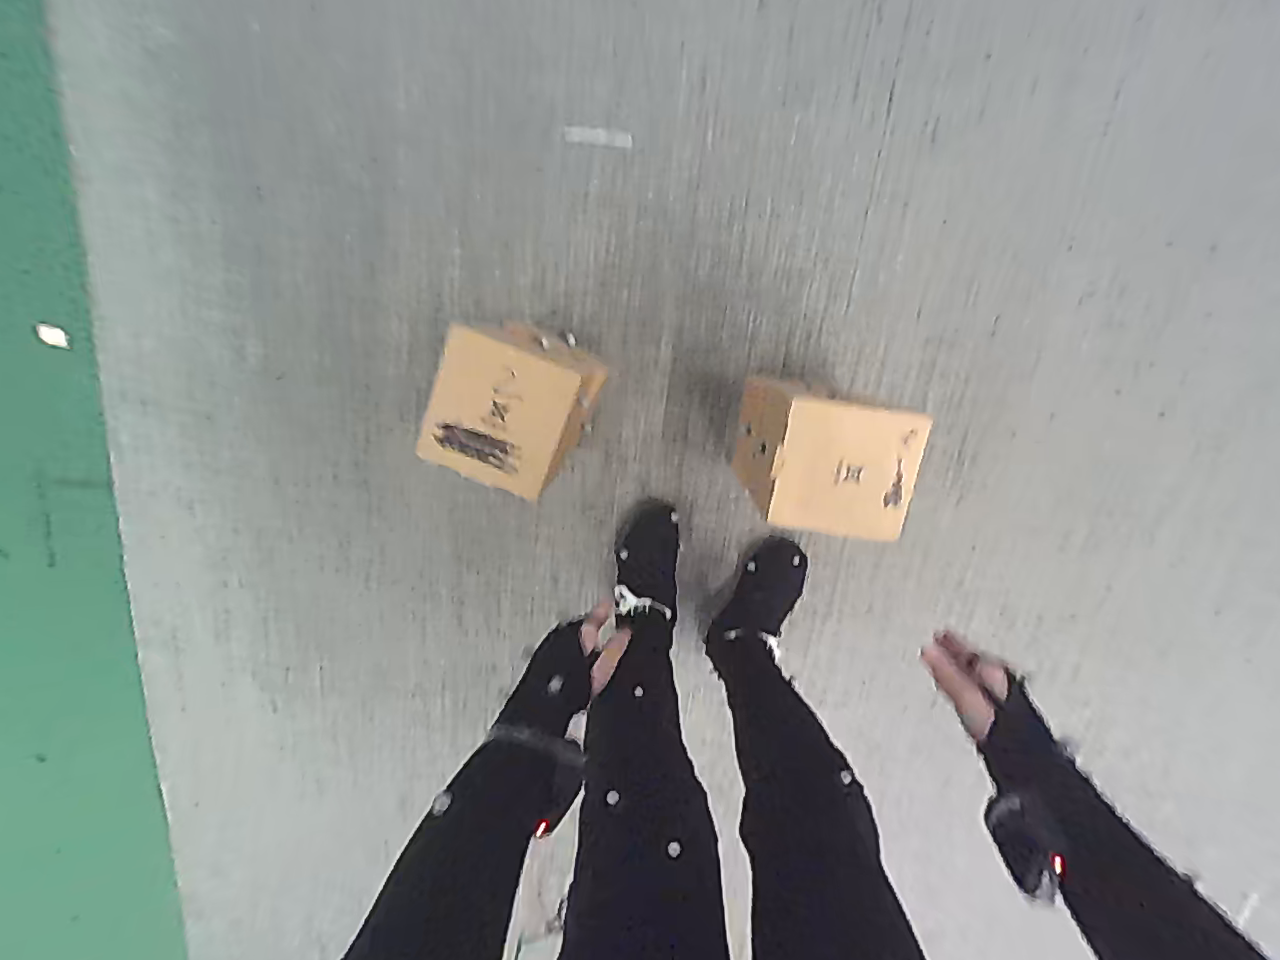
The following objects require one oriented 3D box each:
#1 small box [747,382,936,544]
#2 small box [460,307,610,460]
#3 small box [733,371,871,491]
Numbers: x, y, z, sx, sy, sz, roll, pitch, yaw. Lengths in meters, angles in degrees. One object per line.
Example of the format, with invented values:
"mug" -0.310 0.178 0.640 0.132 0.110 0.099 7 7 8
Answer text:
"small box" 0.252 -0.034 0.730 0.179 0.176 0.168 11 106 1
"small box" -0.159 -0.161 0.883 0.168 0.176 0.179 28 105 -6
"small box" 0.254 -0.075 0.890 0.168 0.176 0.179 9 106 0
